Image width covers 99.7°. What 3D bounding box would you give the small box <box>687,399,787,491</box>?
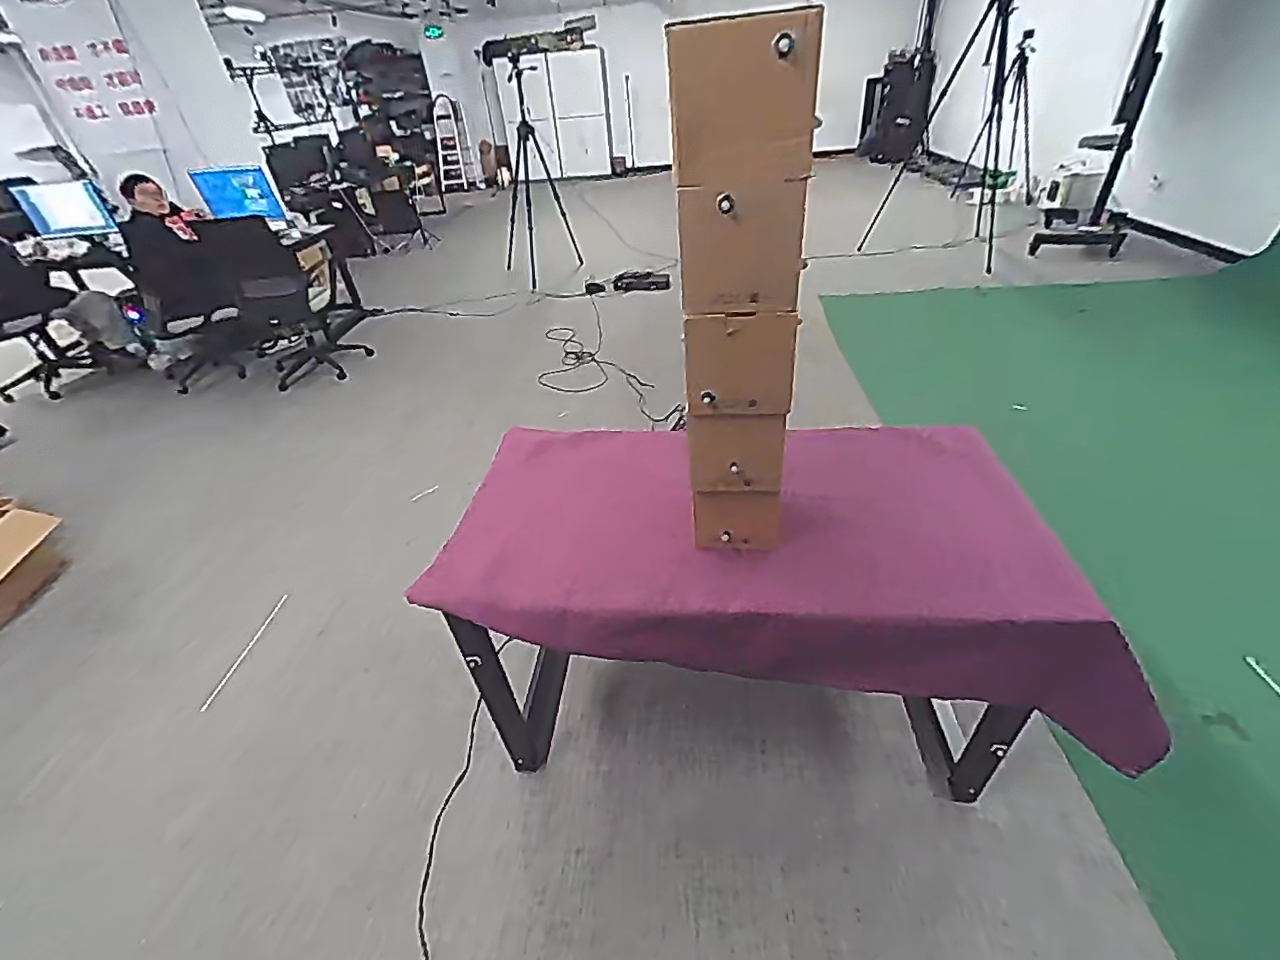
[{"bbox_3d":[0.178,-0.098,1.002,0.168,0.176,0.179,0,37,10],"label":"small box"}]

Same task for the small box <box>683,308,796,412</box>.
[{"bbox_3d":[0.166,-0.223,0.896,0.168,0.176,0.179,1,36,10],"label":"small box"}]

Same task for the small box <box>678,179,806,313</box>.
[{"bbox_3d":[0.151,-0.356,0.803,0.168,0.176,0.179,1,36,12],"label":"small box"}]

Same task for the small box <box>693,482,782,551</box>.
[{"bbox_3d":[0.199,0.023,1.111,0.168,0.176,0.179,1,38,11],"label":"small box"}]

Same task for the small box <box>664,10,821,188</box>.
[{"bbox_3d":[0.134,-0.486,0.705,0.179,0.176,0.168,3,38,12],"label":"small box"}]
